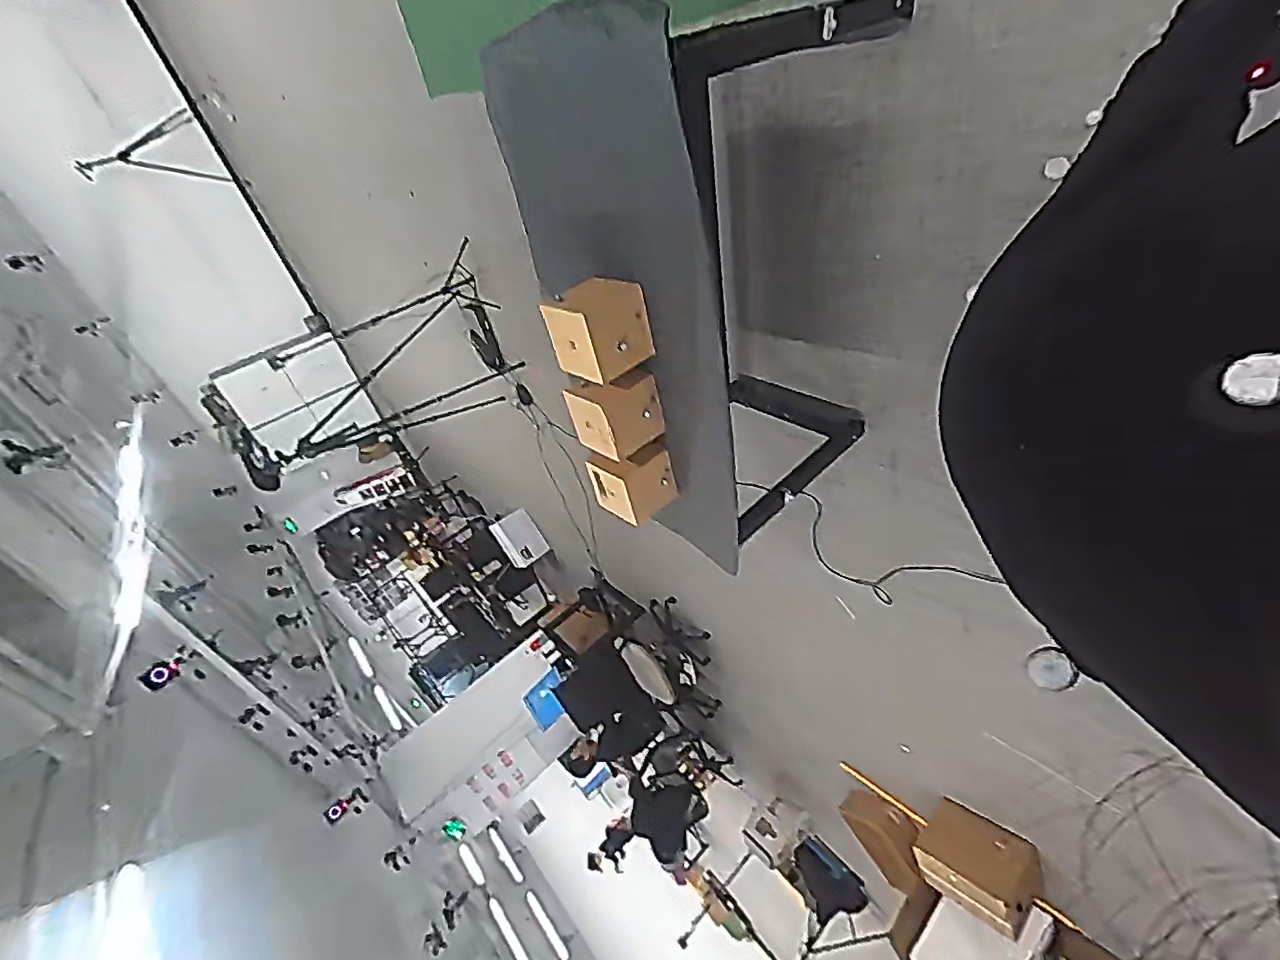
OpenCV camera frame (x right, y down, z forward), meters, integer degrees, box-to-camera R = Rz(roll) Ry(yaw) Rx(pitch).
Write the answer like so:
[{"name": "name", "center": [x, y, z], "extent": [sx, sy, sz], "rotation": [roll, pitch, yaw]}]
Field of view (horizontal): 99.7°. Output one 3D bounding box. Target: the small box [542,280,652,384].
[{"name": "small box", "center": [-0.089, -0.345, 1.238], "extent": [0.179, 0.176, 0.168], "rotation": [28, 145, 44]}]

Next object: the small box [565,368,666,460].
[{"name": "small box", "center": [-0.059, -0.181, 1.388], "extent": [0.179, 0.176, 0.168], "rotation": [27, 144, 44]}]
